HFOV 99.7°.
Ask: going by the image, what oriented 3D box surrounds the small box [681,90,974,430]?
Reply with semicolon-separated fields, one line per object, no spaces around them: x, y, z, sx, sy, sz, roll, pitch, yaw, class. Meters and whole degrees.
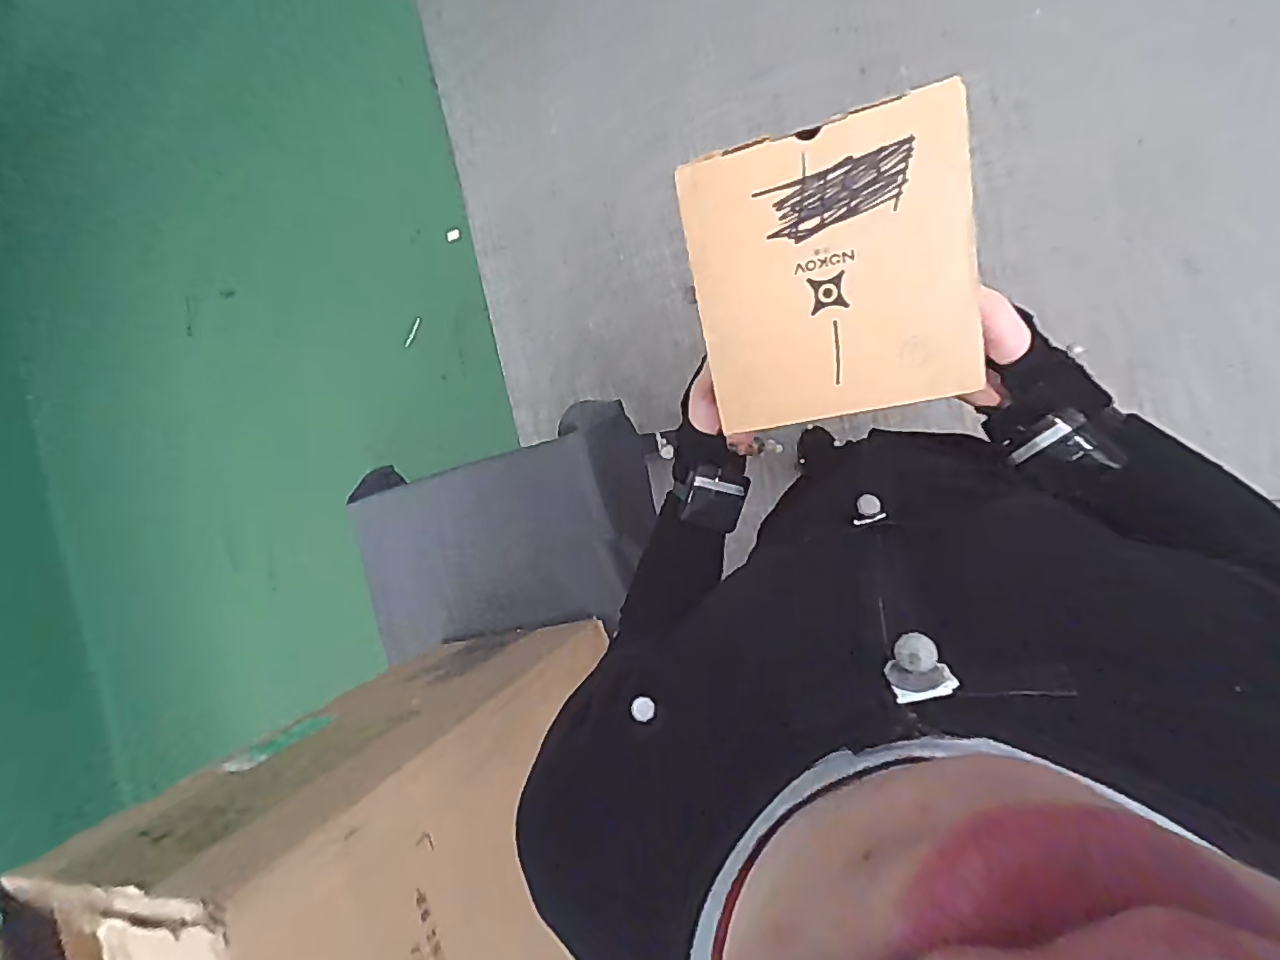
0.135;-0.148;0.416;0.168;0.176;0.179;-8;105;17;small box
